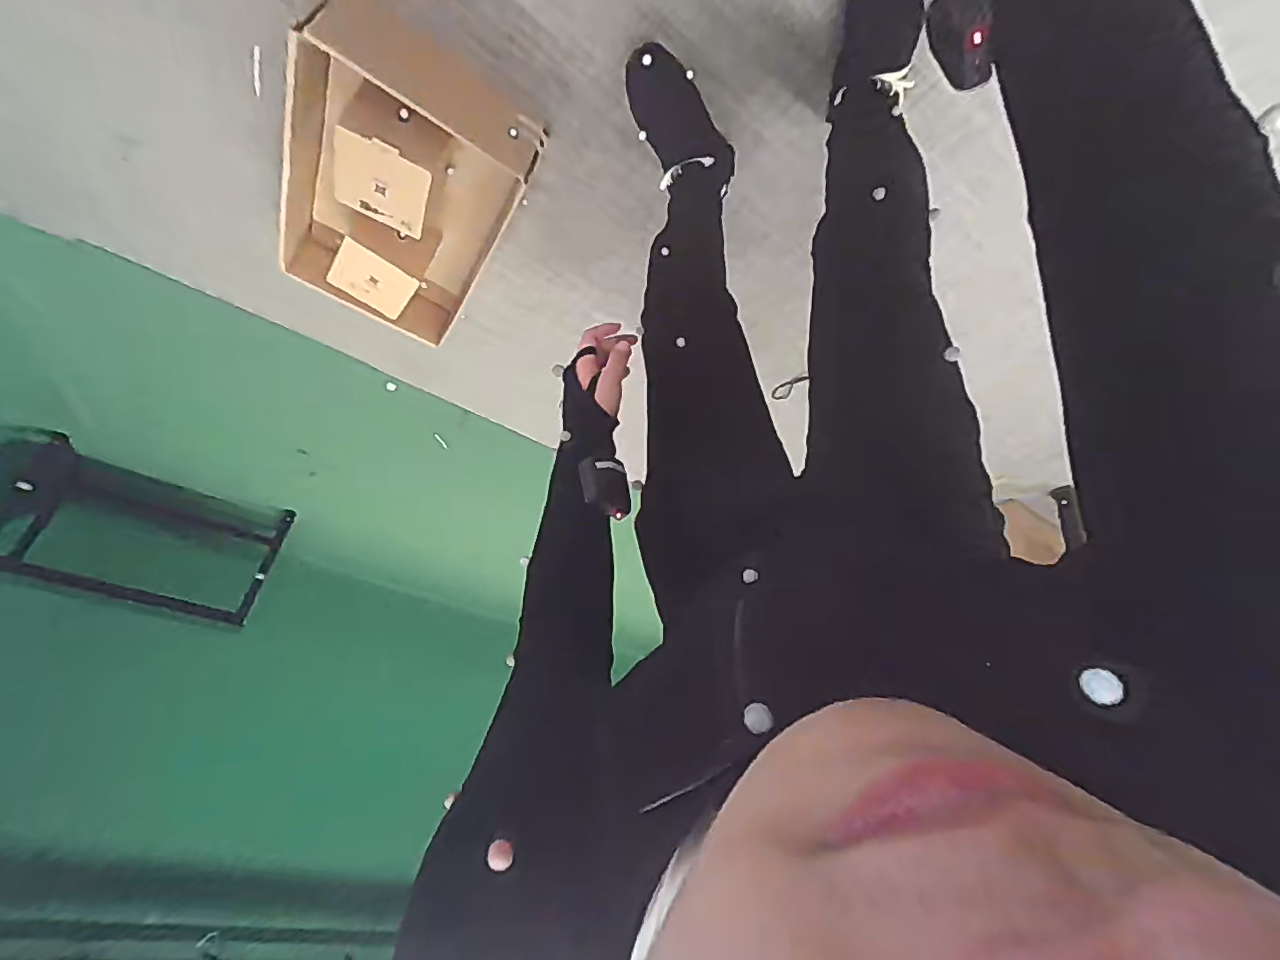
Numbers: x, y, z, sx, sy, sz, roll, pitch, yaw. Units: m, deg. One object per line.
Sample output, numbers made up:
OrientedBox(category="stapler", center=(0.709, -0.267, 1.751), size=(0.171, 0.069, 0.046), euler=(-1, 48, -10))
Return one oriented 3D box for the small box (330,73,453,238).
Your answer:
OrientedBox(category="small box", center=(-0.469, -0.614, 1.029), size=(0.168, 0.176, 0.179), euler=(21, 151, -21))
